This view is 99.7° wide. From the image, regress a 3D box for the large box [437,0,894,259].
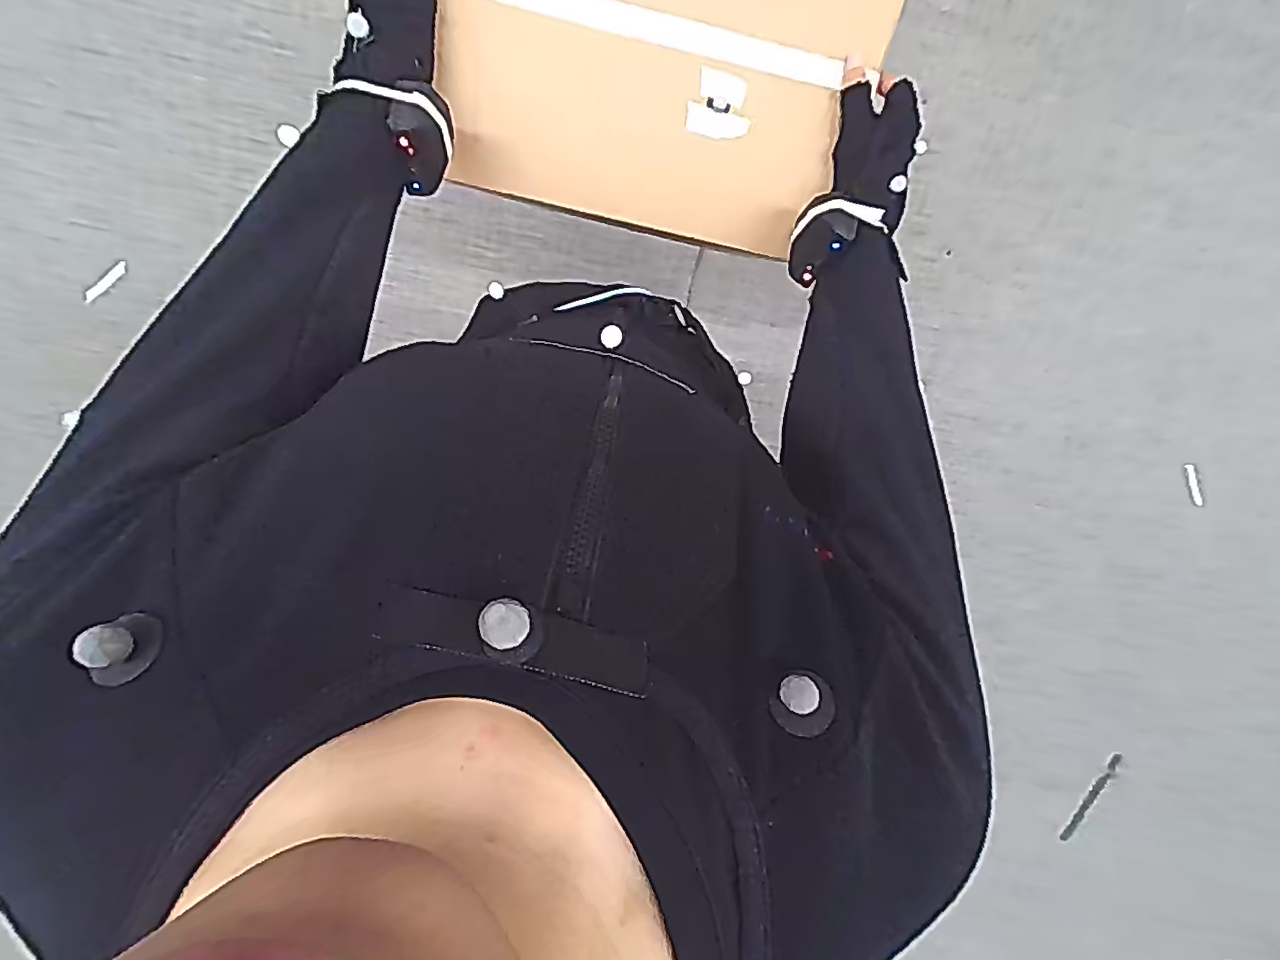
[{"bbox_3d":[0.016,-0.464,0.631,0.408,0.320,0.320,10,114,-6],"label":"large box"}]
